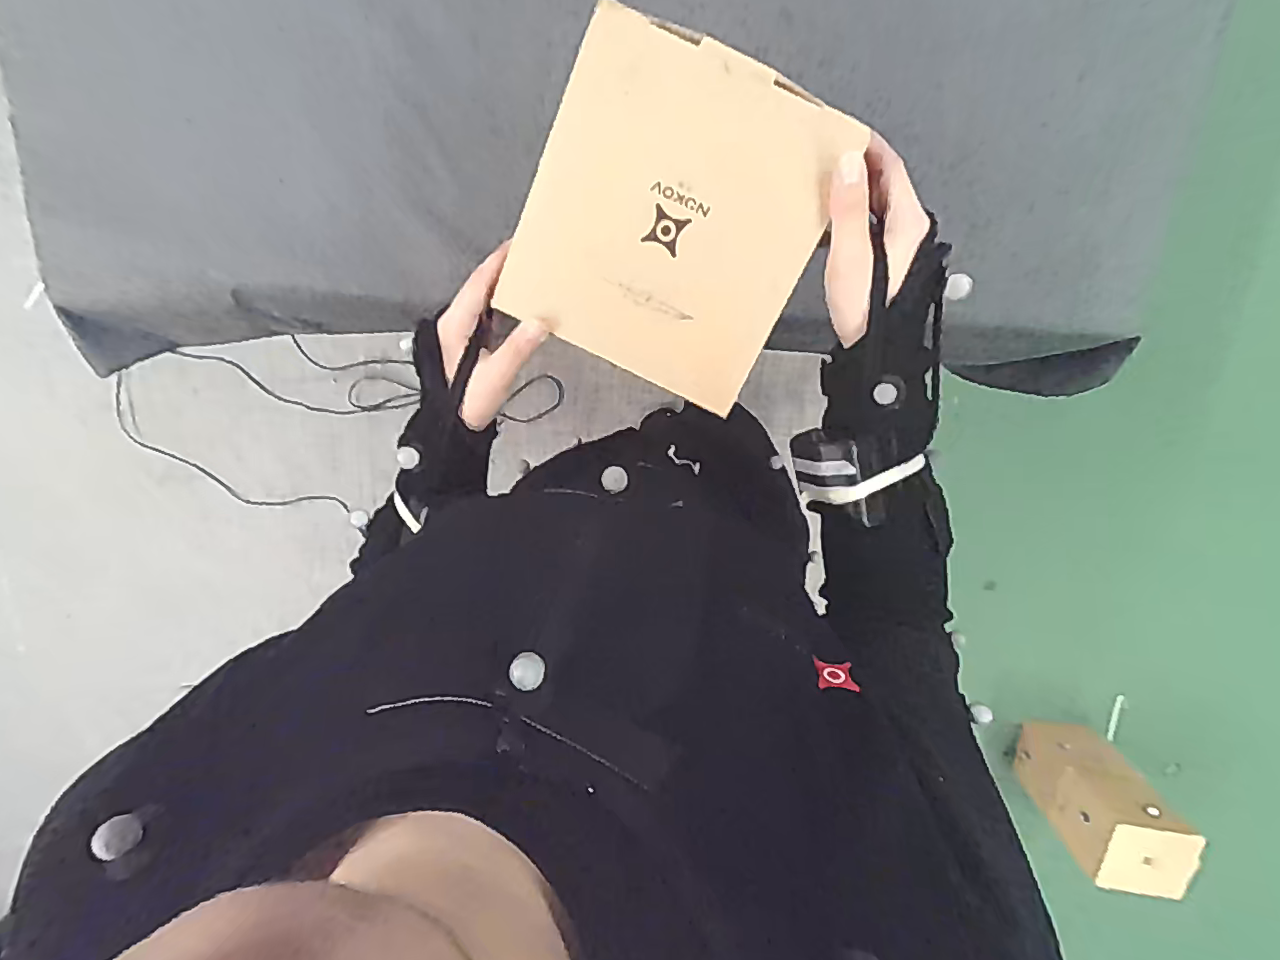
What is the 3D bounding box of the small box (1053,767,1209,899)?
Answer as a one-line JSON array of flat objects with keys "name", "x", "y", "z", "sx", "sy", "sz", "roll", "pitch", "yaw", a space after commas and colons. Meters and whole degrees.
[{"name": "small box", "x": 1.071, "y": 0.771, "z": 1.198, "sx": 0.179, "sy": 0.176, "sz": 0.168, "roll": 6, "pitch": 104, "yaw": 4}]
